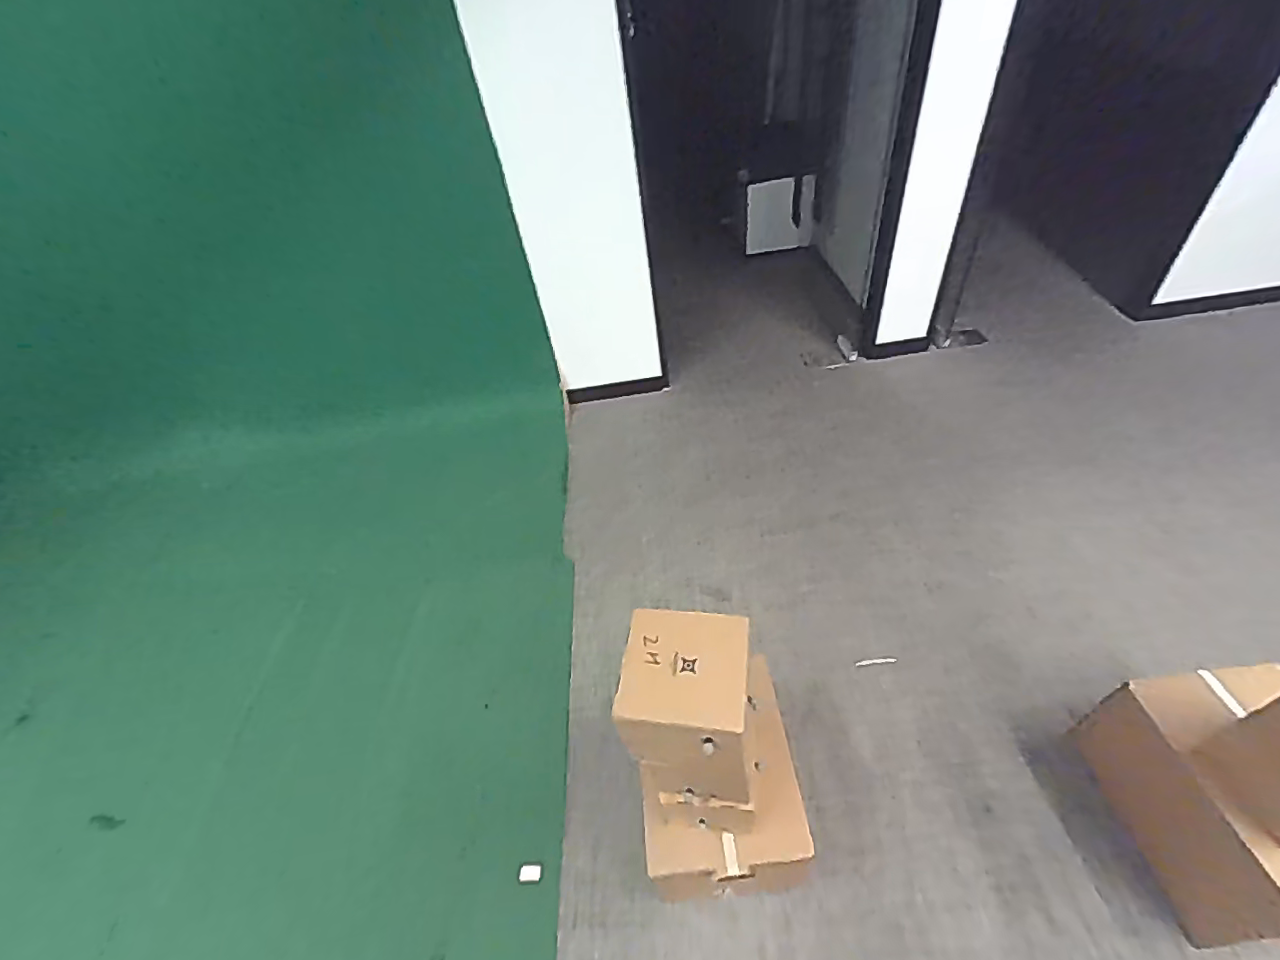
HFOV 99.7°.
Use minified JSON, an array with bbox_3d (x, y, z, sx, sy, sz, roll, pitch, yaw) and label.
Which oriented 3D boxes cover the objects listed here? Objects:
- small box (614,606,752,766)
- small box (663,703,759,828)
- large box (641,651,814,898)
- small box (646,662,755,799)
[{"bbox_3d":[0.076,0.309,0.808,0.179,0.176,0.168,1,46,14],"label":"small box"},{"bbox_3d":[0.140,0.538,1.034,0.168,0.176,0.179,-2,46,11],"label":"small box"},{"bbox_3d":[0.179,0.670,1.240,0.320,0.320,0.408,-9,44,3],"label":"large box"},{"bbox_3d":[0.110,0.419,0.926,0.168,0.176,0.179,0,47,14],"label":"small box"}]
